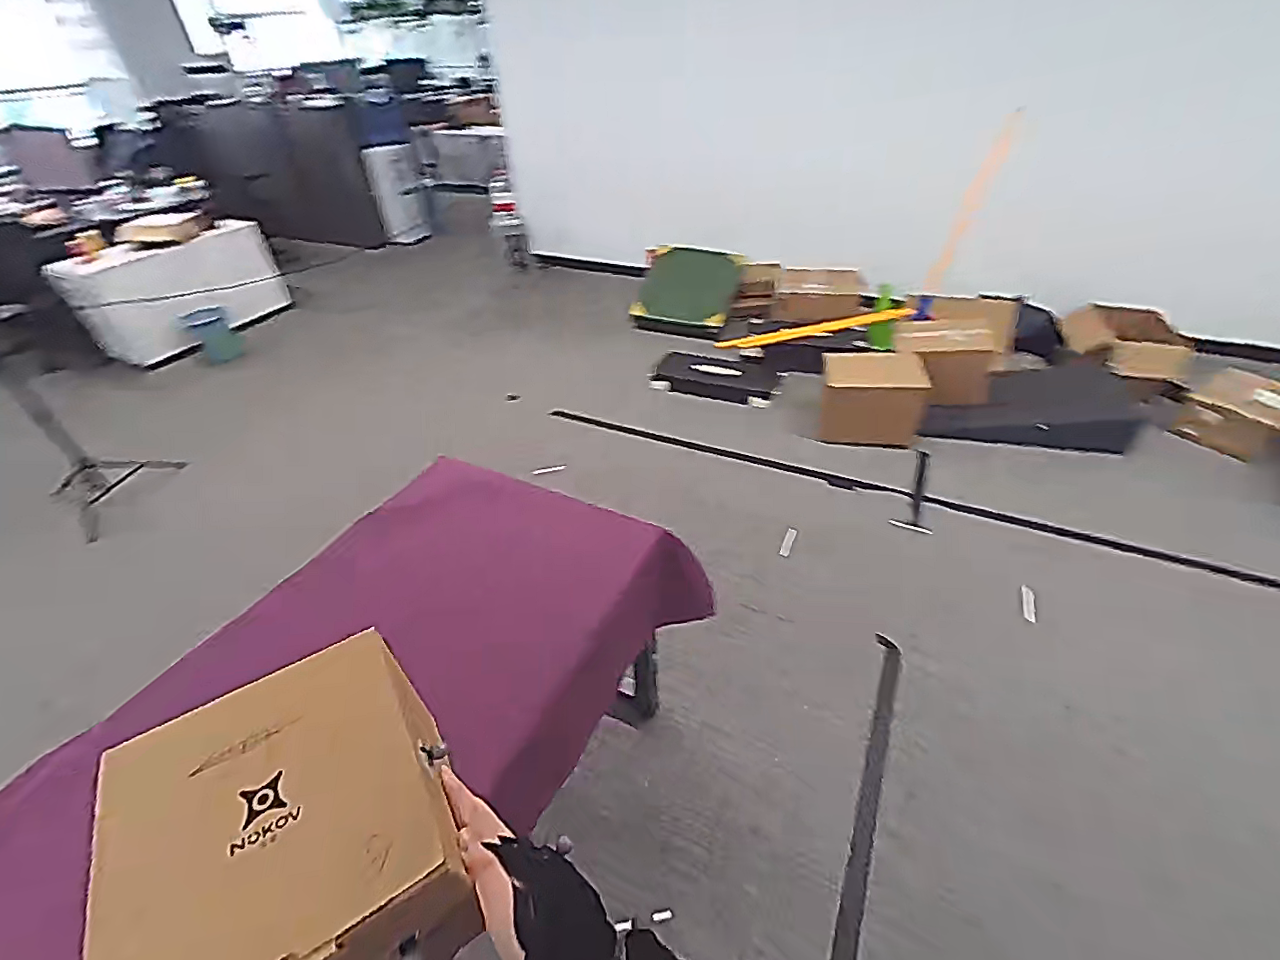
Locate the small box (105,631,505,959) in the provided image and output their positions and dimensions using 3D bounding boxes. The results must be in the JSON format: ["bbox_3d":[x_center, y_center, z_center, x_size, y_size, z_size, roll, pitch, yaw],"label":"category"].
[{"bbox_3d":[-0.208,0.246,0.372,0.168,0.176,0.179,-23,48,-22],"label":"small box"}]
